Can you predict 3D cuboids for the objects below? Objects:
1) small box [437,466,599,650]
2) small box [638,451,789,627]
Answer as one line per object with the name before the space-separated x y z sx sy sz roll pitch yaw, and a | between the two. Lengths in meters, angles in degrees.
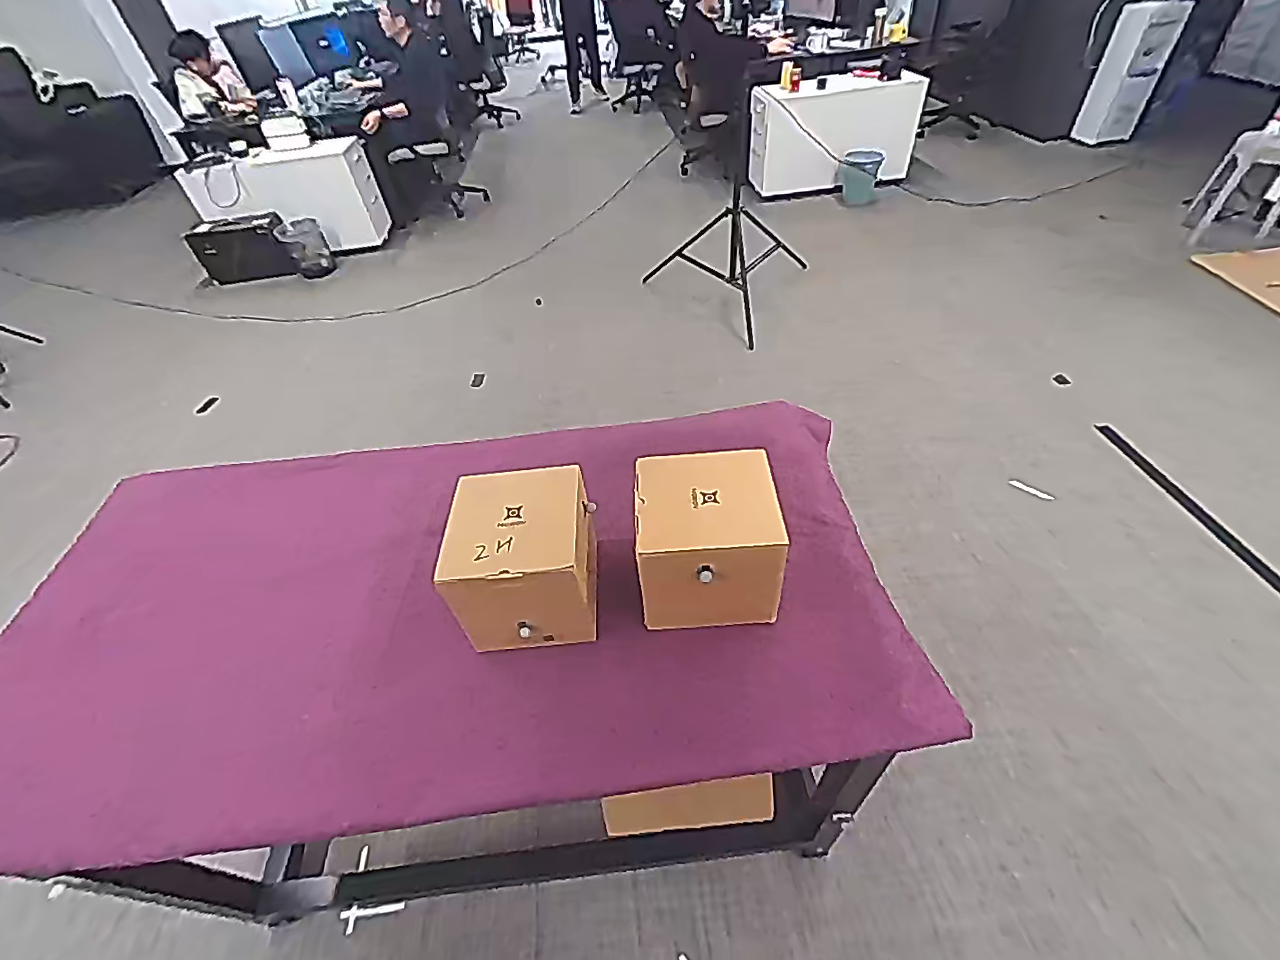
small box | -0.150 0.105 0.732 0.168 0.176 0.179 -6 45 2
small box | 0.090 0.081 0.729 0.179 0.176 0.168 -5 44 3
